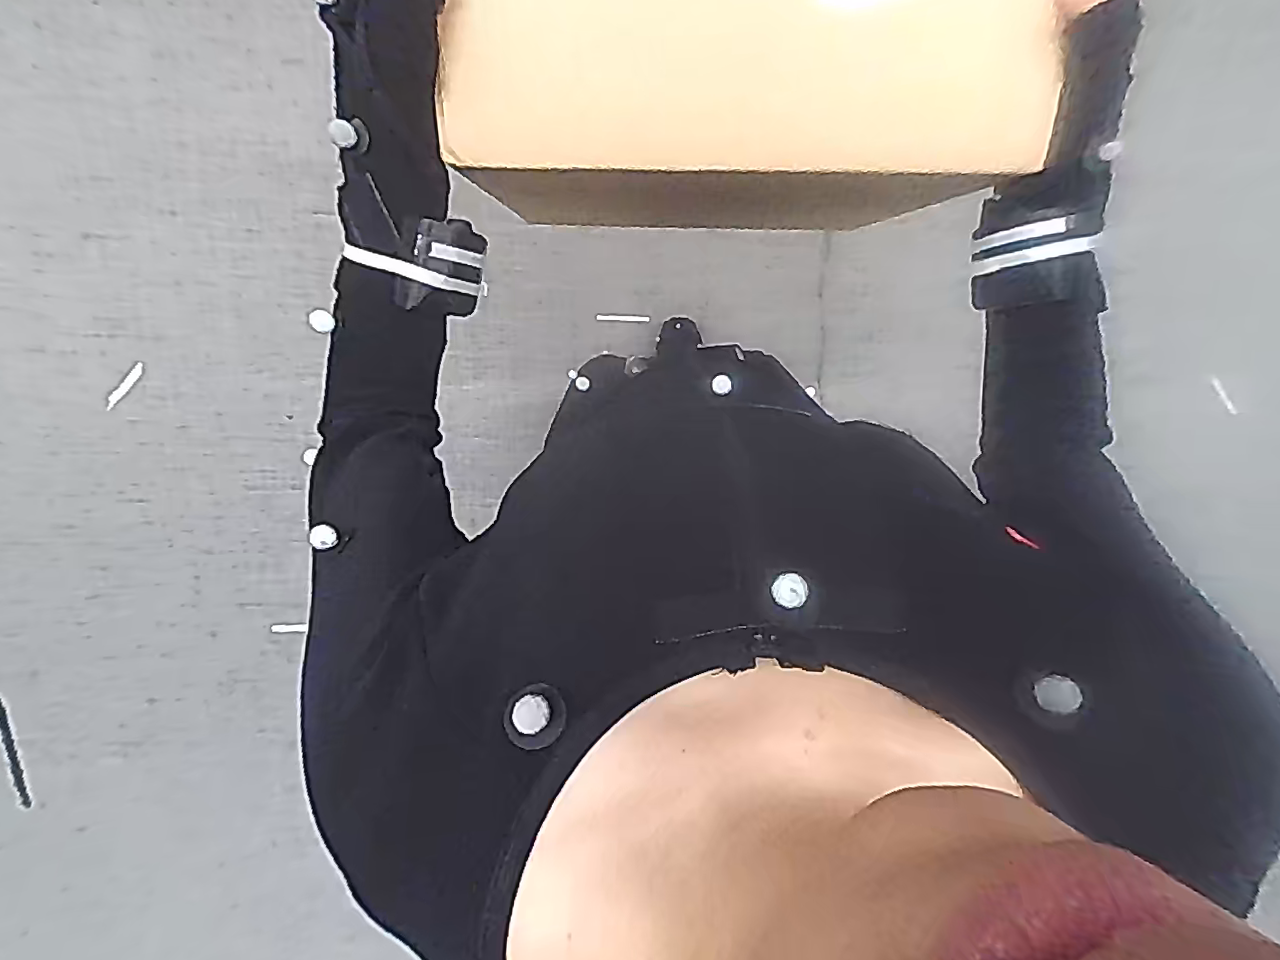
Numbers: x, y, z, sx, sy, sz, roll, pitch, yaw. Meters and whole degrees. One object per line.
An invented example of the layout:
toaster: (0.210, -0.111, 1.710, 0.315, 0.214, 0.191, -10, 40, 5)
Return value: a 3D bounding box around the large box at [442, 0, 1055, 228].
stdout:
large box: (0.066, -0.412, 0.470, 0.408, 0.320, 0.320, 0, 108, -1)
